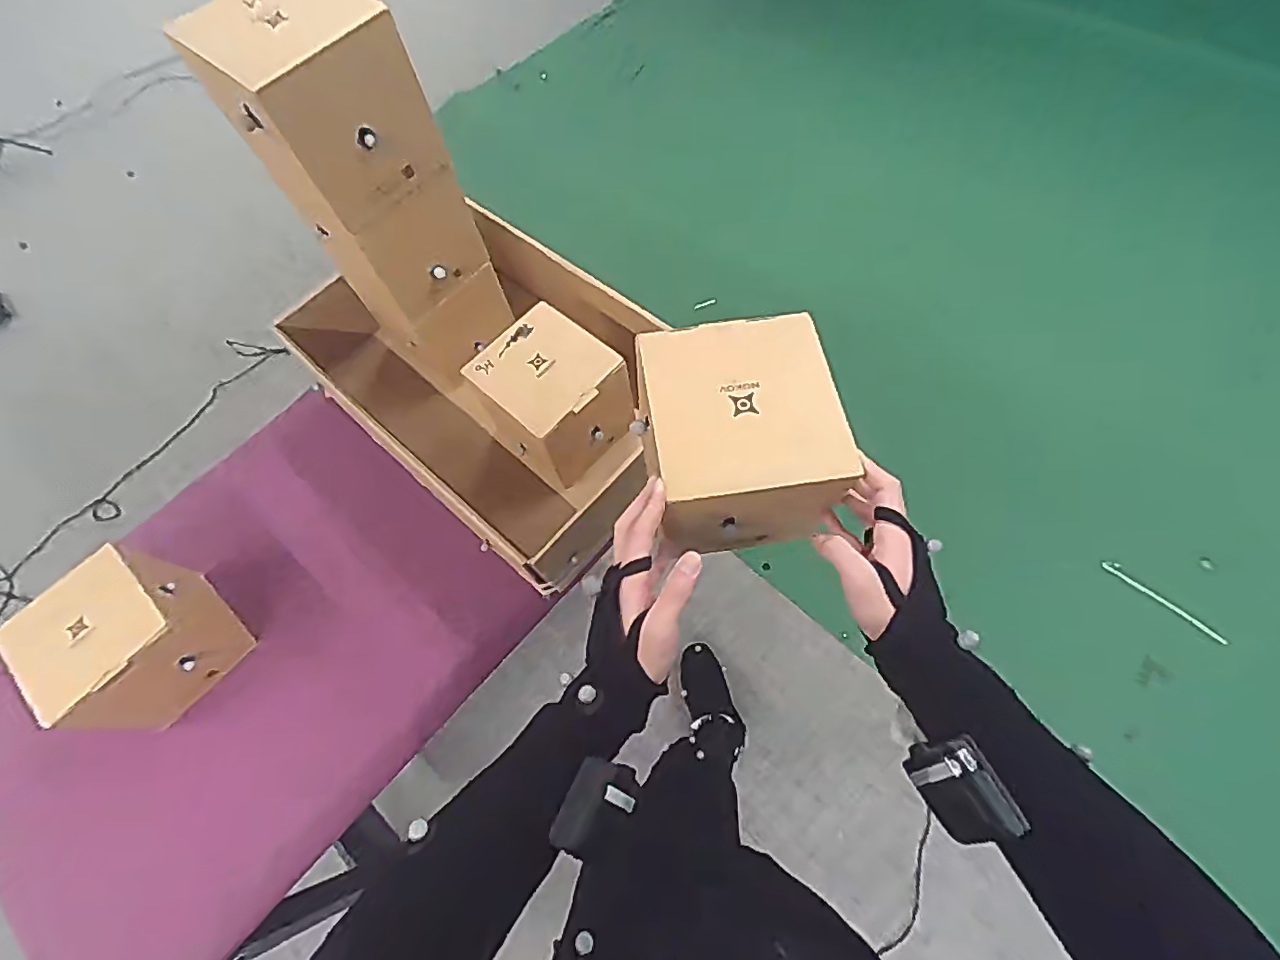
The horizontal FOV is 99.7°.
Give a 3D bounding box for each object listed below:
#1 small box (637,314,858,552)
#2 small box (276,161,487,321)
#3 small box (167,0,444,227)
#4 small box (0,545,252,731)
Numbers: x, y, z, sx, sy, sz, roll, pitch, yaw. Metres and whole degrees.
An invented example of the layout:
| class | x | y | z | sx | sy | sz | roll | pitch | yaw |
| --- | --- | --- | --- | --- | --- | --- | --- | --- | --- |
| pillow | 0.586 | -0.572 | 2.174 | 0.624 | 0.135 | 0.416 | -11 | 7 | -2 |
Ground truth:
| class | x | y | z | sx | sy | sz | roll | pitch | yaw |
| --- | --- | --- | --- | --- | --- | --- | --- | --- | --- |
| small box | 0.092 | -0.035 | 0.546 | 0.168 | 0.176 | 0.179 | -8 | 65 | -1 |
| small box | -0.354 | -0.362 | 0.771 | 0.179 | 0.176 | 0.168 | 37 | 74 | 17 |
| small box | -0.361 | -0.427 | 0.619 | 0.179 | 0.176 | 0.168 | 38 | 74 | 18 |
| small box | -0.709 | 0.227 | 0.766 | 0.179 | 0.176 | 0.168 | 38 | 72 | 19 |
